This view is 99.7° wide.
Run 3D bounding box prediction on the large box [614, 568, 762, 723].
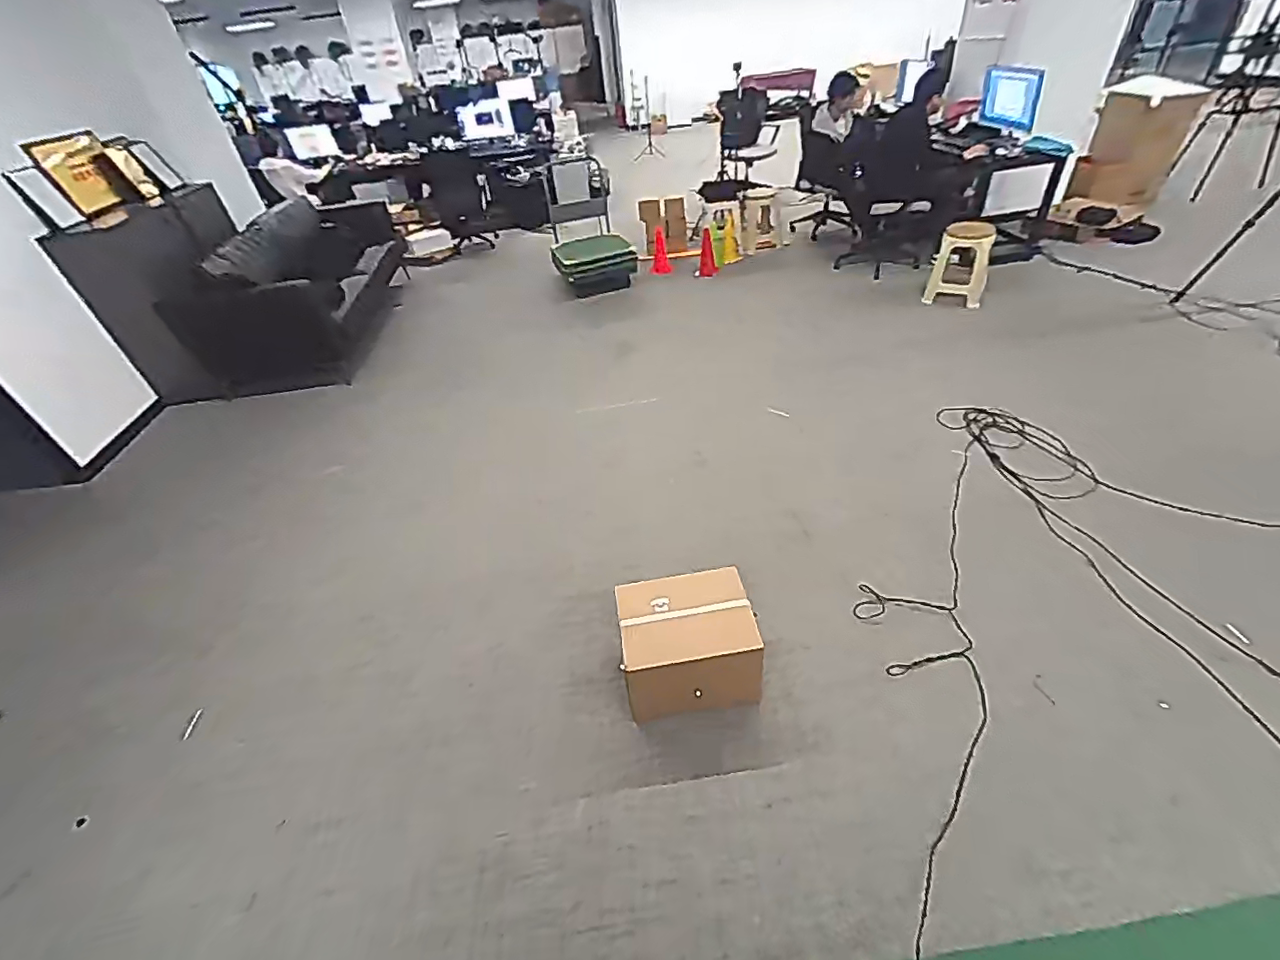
[{"bbox_3d":[0.150,0.533,1.745,0.408,0.320,0.320,-11,39,-2],"label":"large box"}]
